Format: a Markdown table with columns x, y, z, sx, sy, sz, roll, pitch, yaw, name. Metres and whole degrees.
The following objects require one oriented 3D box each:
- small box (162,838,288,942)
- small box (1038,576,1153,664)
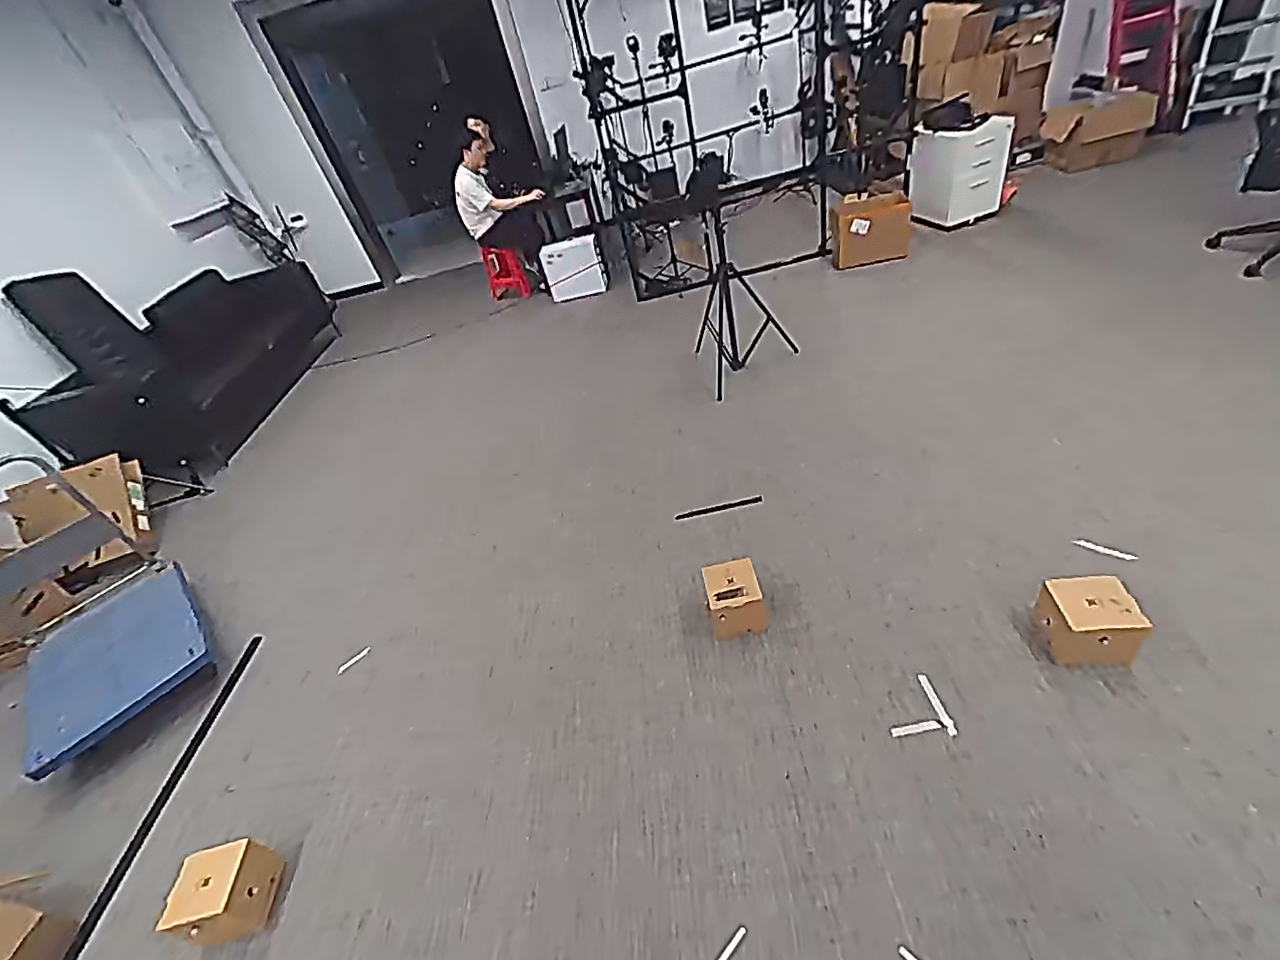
| x | y | z | sx | sy | sz | roll | pitch | yaw | name |
| --- | --- | --- | --- | --- | --- | --- | --- | --- | --- |
| -1.085 | 1.087 | 1.434 | 0.179 | 0.176 | 0.168 | -17 | 38 | 1 | small box |
| 1.203 | 0.378 | 1.451 | 0.179 | 0.176 | 0.168 | -6 | 40 | 13 | small box |
